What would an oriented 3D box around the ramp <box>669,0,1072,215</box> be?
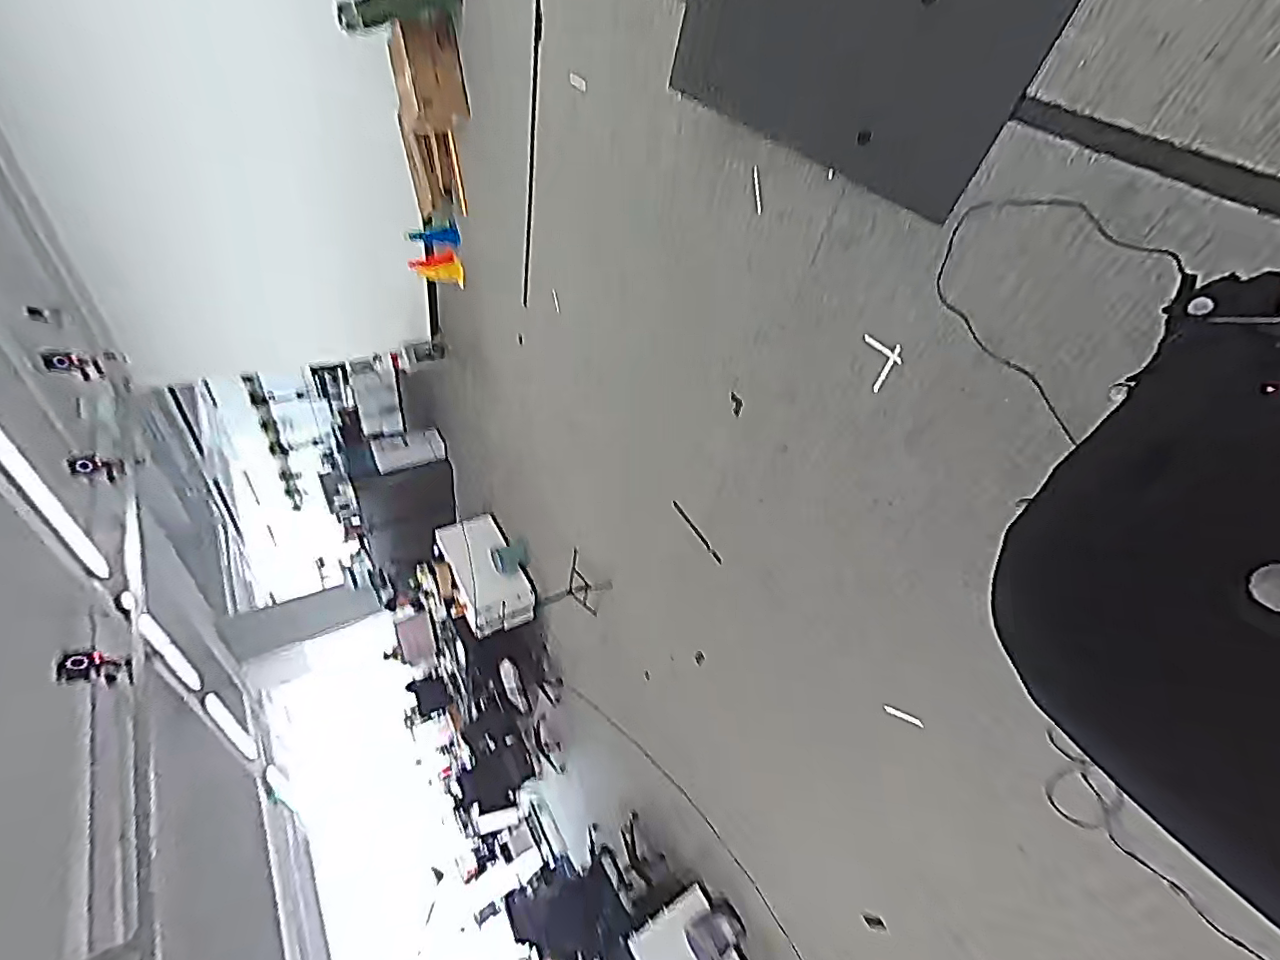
[{"bbox_3d":[0.480,-1.138,1.384,0.991,0.206,0.509,51,143,31],"label":"ramp"}]
